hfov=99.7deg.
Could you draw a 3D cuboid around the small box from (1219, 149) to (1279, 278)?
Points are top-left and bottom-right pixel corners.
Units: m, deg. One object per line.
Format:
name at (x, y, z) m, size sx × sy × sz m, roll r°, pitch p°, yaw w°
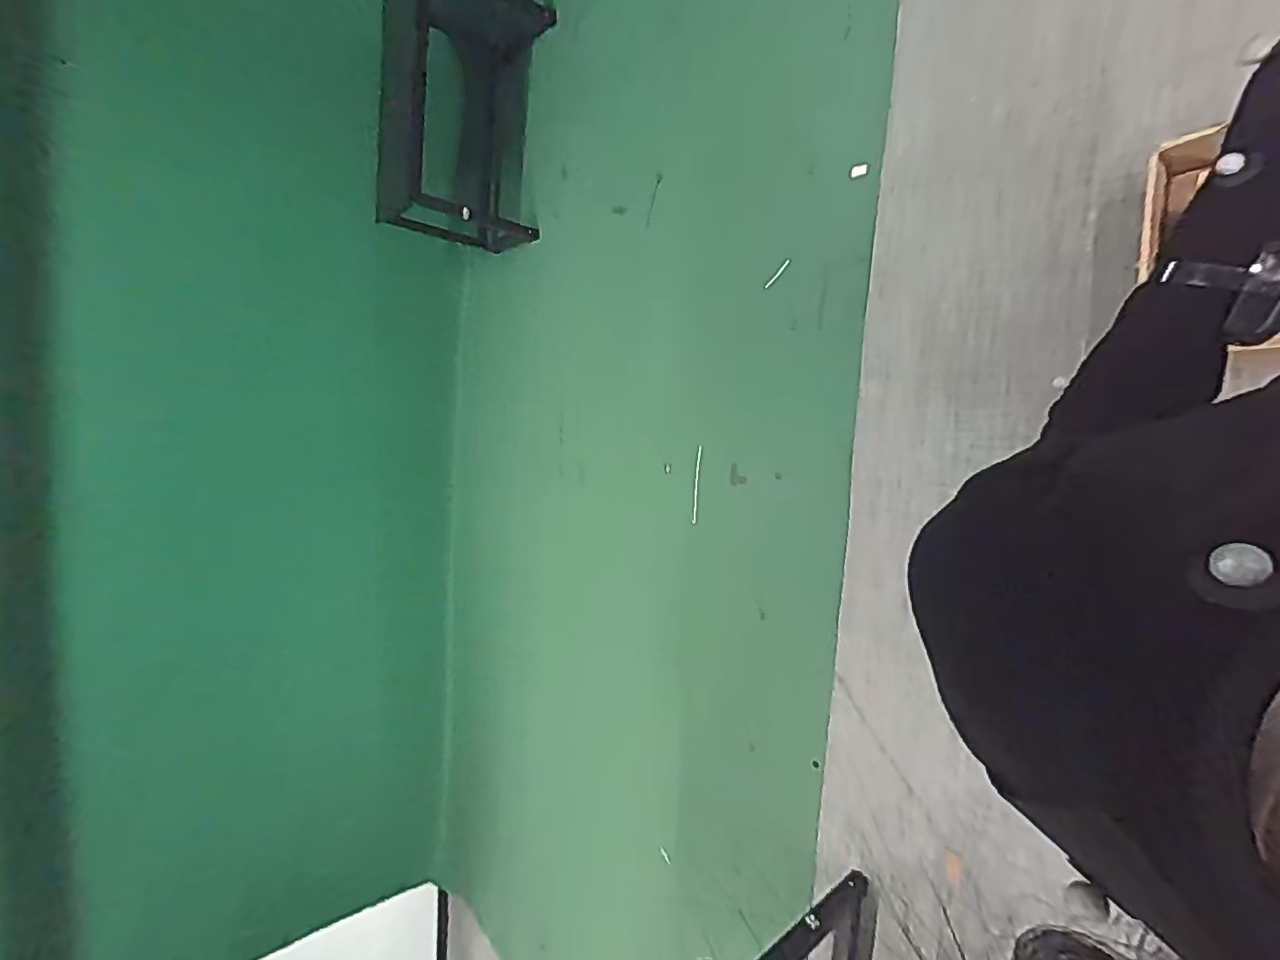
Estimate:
small box at (1.116, -0.458, 0.913) m, size 0.179 × 0.176 × 0.168 m, roll 1°, pitch 93°, yaw 50°
